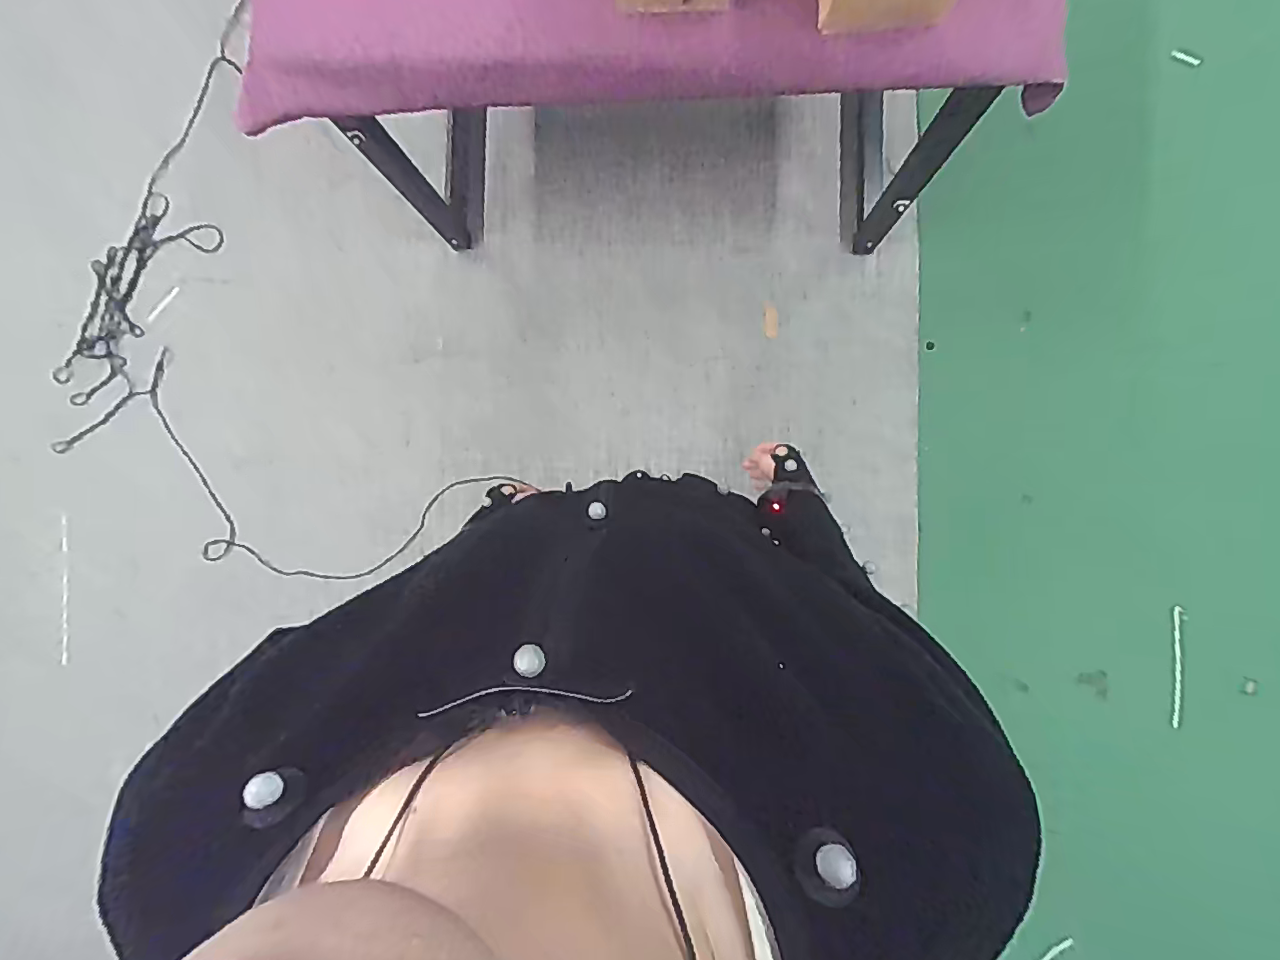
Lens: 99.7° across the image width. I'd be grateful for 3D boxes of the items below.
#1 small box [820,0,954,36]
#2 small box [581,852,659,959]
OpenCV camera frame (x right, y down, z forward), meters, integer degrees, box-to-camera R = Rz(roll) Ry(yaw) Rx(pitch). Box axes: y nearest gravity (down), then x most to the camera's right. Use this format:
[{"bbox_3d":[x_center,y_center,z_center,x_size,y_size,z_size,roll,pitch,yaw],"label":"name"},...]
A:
[{"bbox_3d":[0.345,-0.728,0.703,0.179,0.176,0.168,-1,90,6],"label":"small box"},{"bbox_3d":[-0.045,1.083,1.377,0.179,0.176,0.168,-5,87,6],"label":"small box"}]
